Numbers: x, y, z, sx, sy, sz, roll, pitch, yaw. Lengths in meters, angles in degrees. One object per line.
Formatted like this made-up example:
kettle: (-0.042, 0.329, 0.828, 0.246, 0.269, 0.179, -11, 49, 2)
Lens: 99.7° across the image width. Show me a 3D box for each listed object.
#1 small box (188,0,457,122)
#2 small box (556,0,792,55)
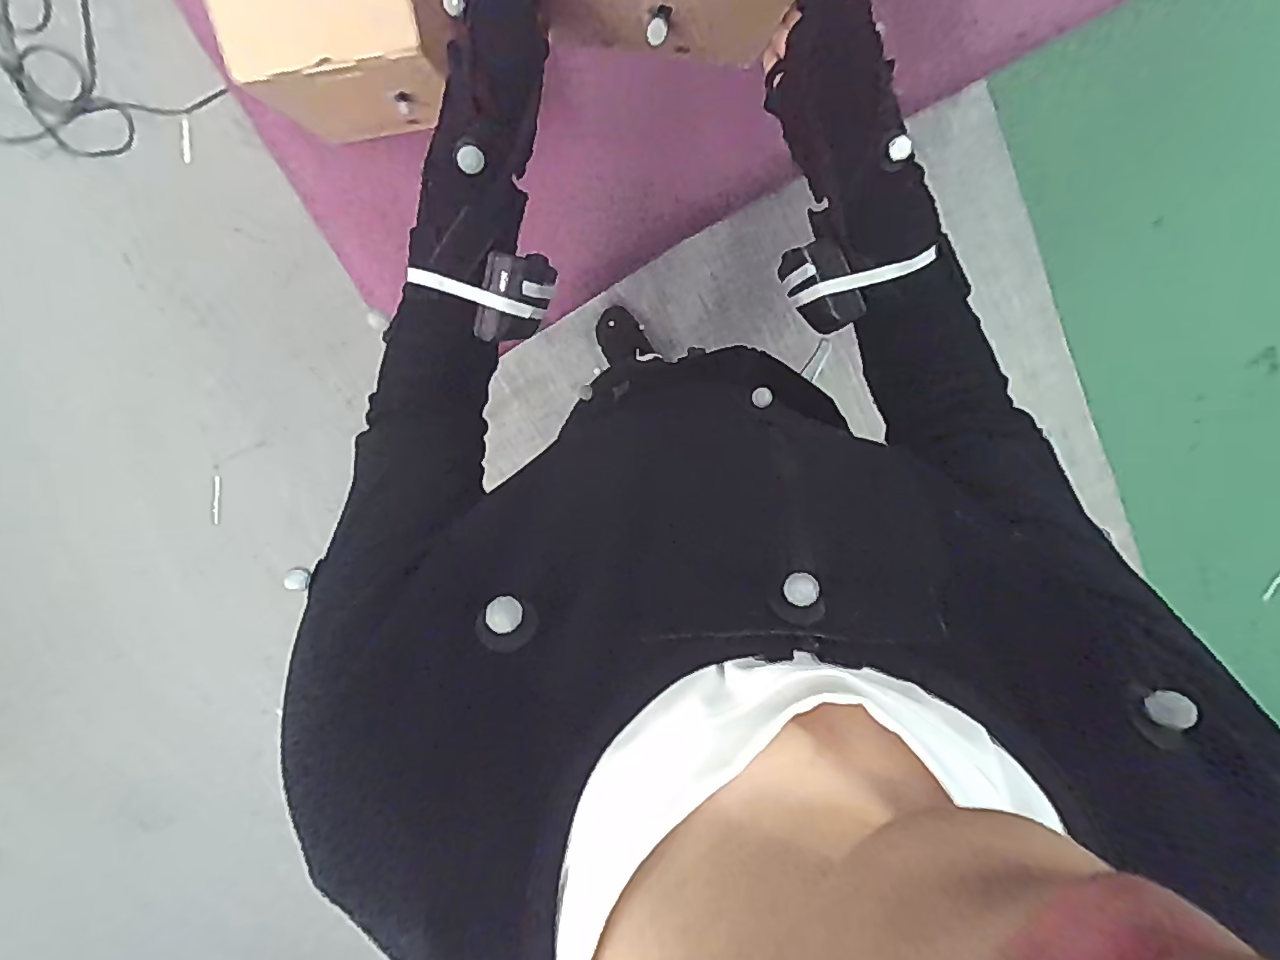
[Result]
small box: (-0.284, -0.452, 0.490, 0.168, 0.176, 0.179, -9, 107, 1)
small box: (0.026, -0.391, 0.327, 0.168, 0.176, 0.179, 2, 111, -3)
